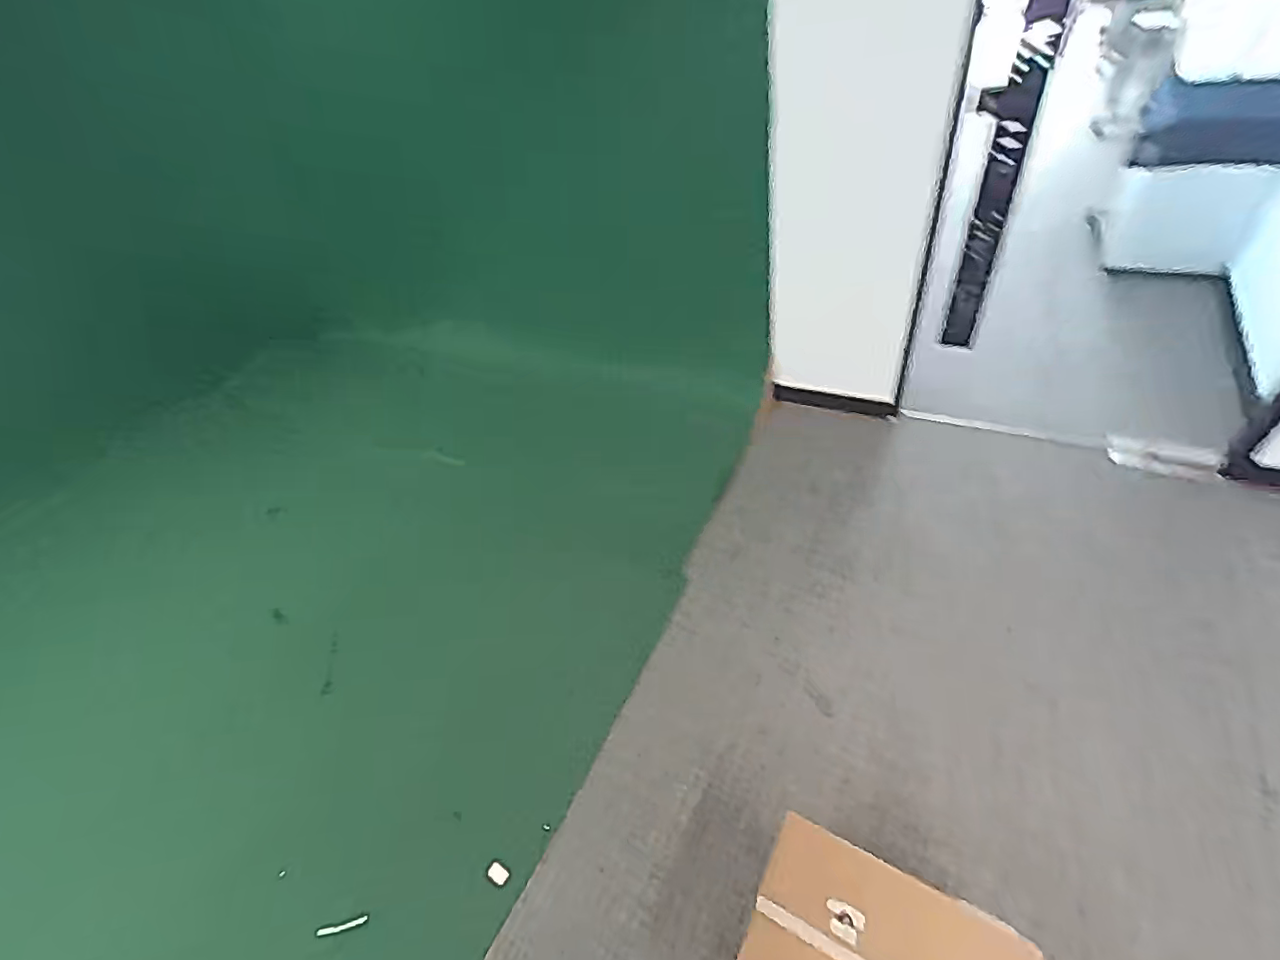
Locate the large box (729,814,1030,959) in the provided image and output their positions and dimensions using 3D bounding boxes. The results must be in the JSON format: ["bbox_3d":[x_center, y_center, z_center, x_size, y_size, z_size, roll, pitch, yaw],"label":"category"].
[{"bbox_3d":[0.386,0.873,0.941,0.408,0.320,0.320,17,52,28],"label":"large box"}]
